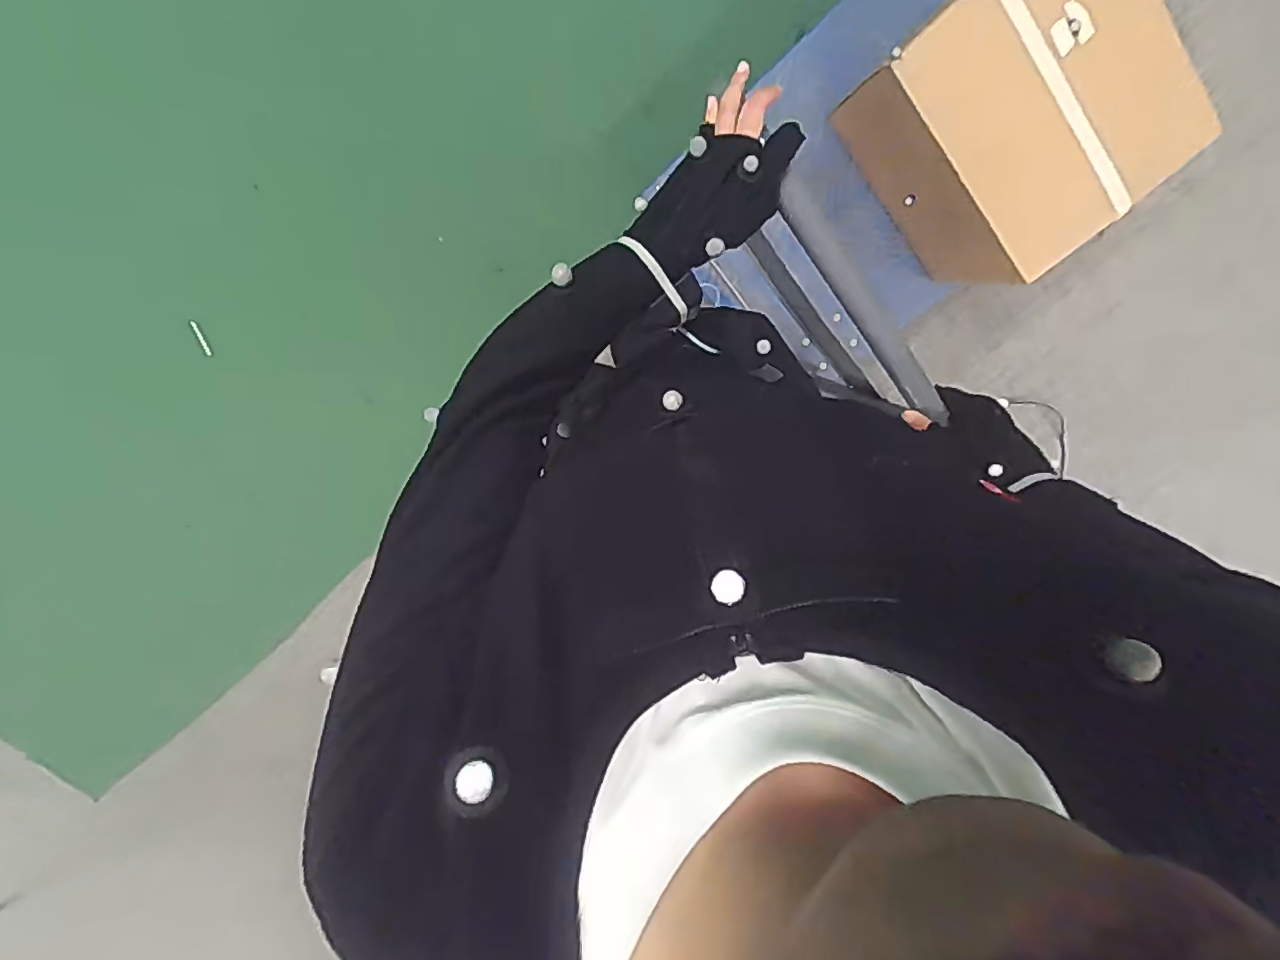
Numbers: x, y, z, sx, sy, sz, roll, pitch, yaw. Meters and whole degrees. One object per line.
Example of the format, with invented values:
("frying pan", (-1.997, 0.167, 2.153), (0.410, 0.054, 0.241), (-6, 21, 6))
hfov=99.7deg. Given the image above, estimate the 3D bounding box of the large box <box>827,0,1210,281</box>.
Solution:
("large box", (0.592, -0.600, 0.917), (0.320, 0.320, 0.408), (-39, 104, 15))
